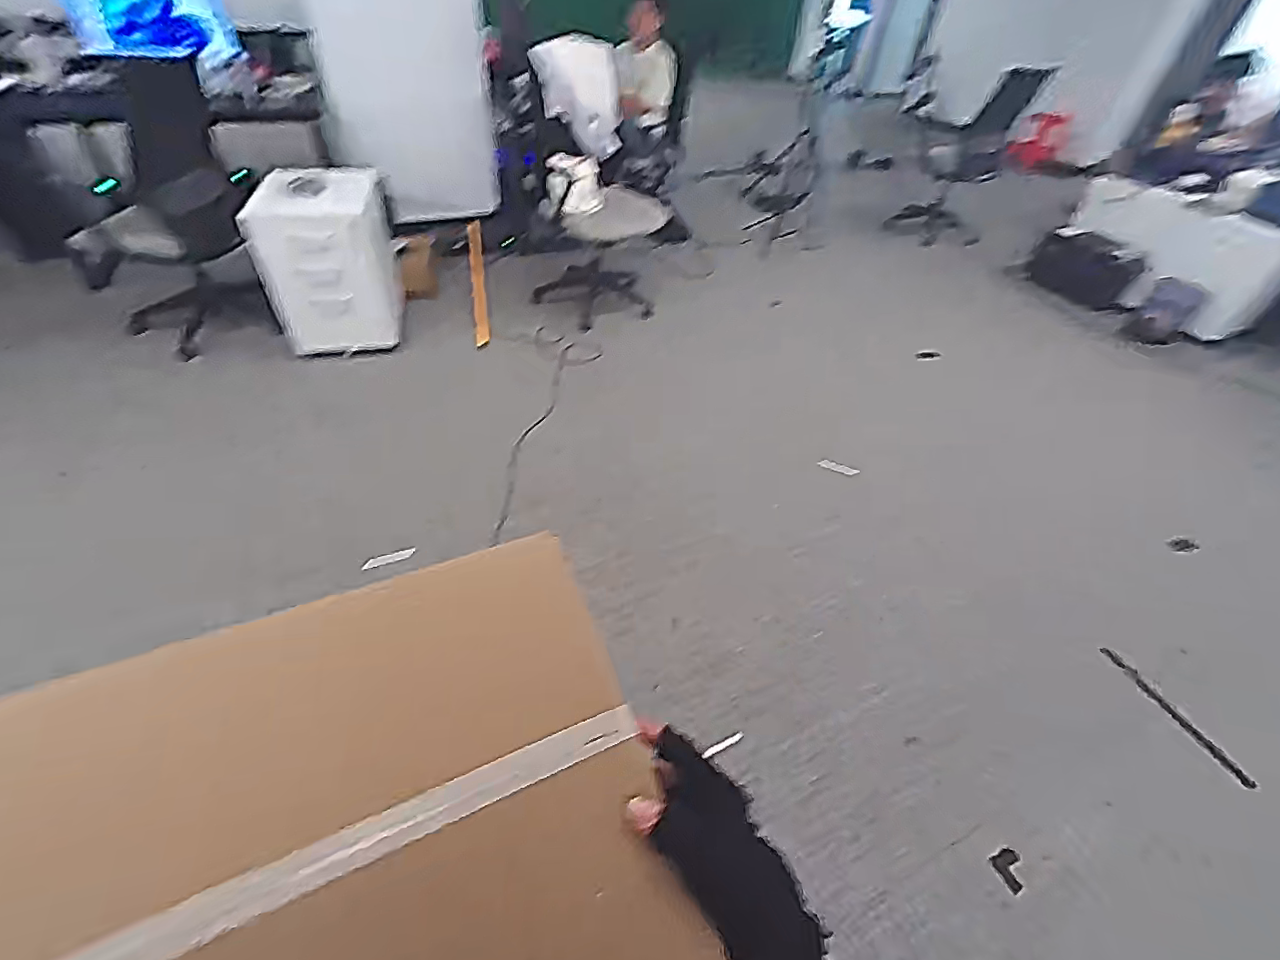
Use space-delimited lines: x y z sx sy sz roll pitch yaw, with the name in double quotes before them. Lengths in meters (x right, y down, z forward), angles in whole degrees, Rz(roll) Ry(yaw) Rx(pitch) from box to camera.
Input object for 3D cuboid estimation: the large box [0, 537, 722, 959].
"large box" -0.213 0.302 0.429 0.408 0.320 0.320 -17 62 -21
